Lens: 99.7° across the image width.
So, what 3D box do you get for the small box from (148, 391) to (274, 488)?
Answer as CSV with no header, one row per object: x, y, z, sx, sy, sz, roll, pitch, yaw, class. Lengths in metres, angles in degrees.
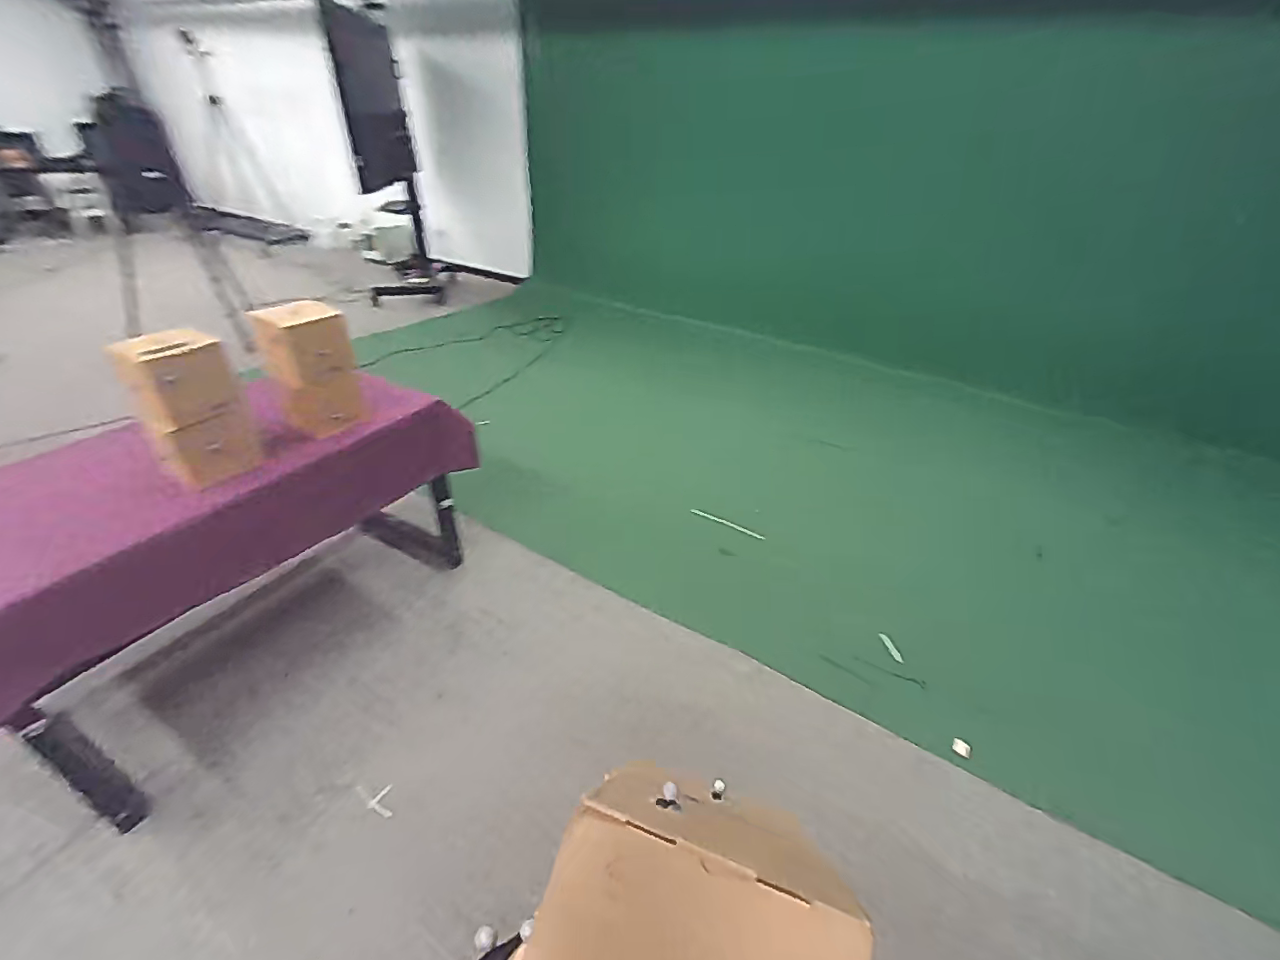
-1.091,-0.103,1.385,0.168,0.176,0.179,22,39,26,small box

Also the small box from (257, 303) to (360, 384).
-0.924,-0.382,1.522,0.179,0.176,0.168,22,38,26,small box

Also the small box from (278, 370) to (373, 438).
-0.933,-0.245,1.613,0.179,0.176,0.168,23,39,26,small box
